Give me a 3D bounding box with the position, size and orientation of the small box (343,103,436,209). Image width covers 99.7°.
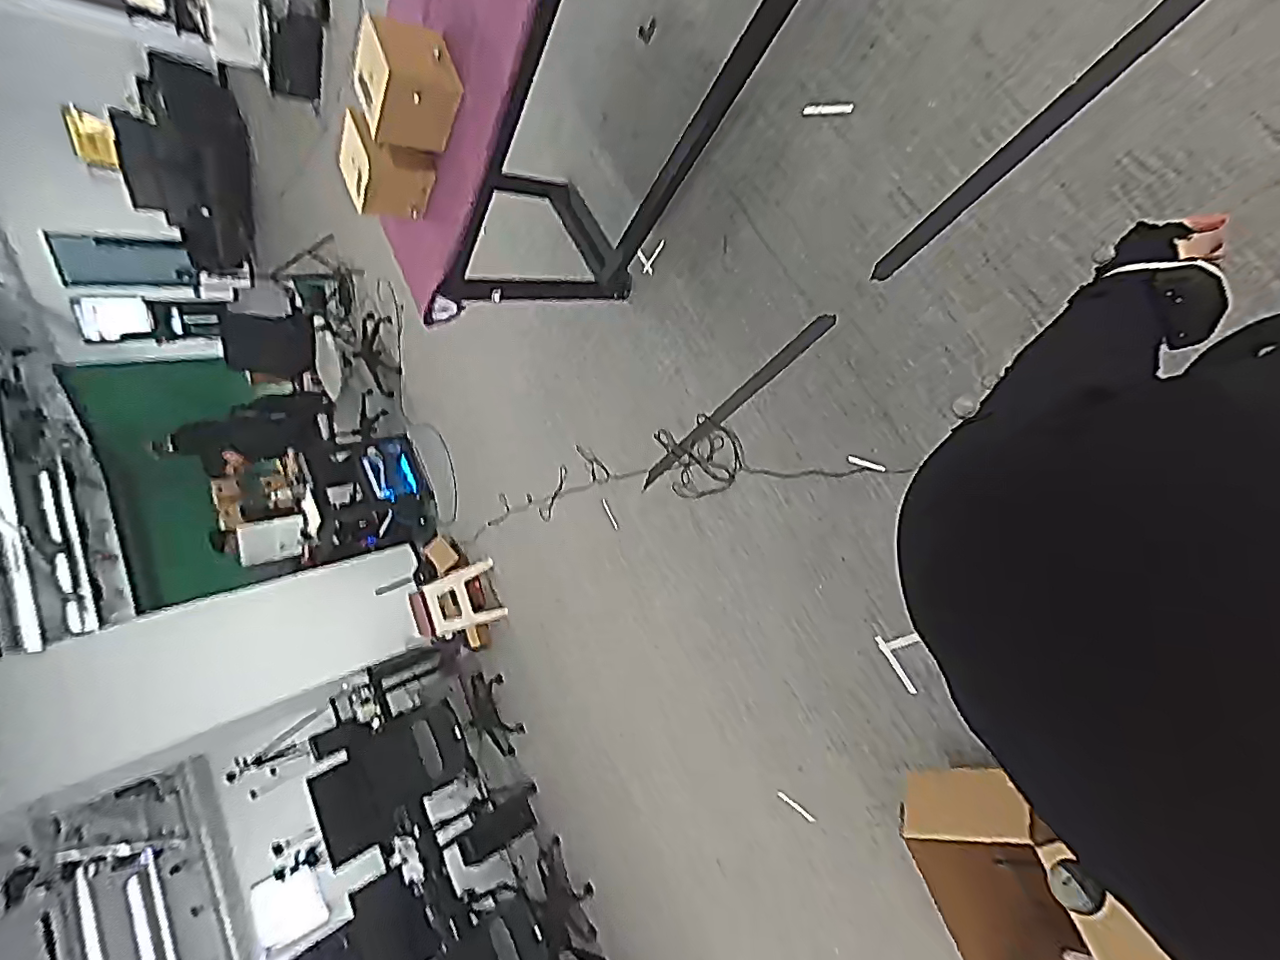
[{"bbox_3d":[-0.660,-0.843,1.427,0.168,0.176,0.179,-35,76,49],"label":"small box"}]
